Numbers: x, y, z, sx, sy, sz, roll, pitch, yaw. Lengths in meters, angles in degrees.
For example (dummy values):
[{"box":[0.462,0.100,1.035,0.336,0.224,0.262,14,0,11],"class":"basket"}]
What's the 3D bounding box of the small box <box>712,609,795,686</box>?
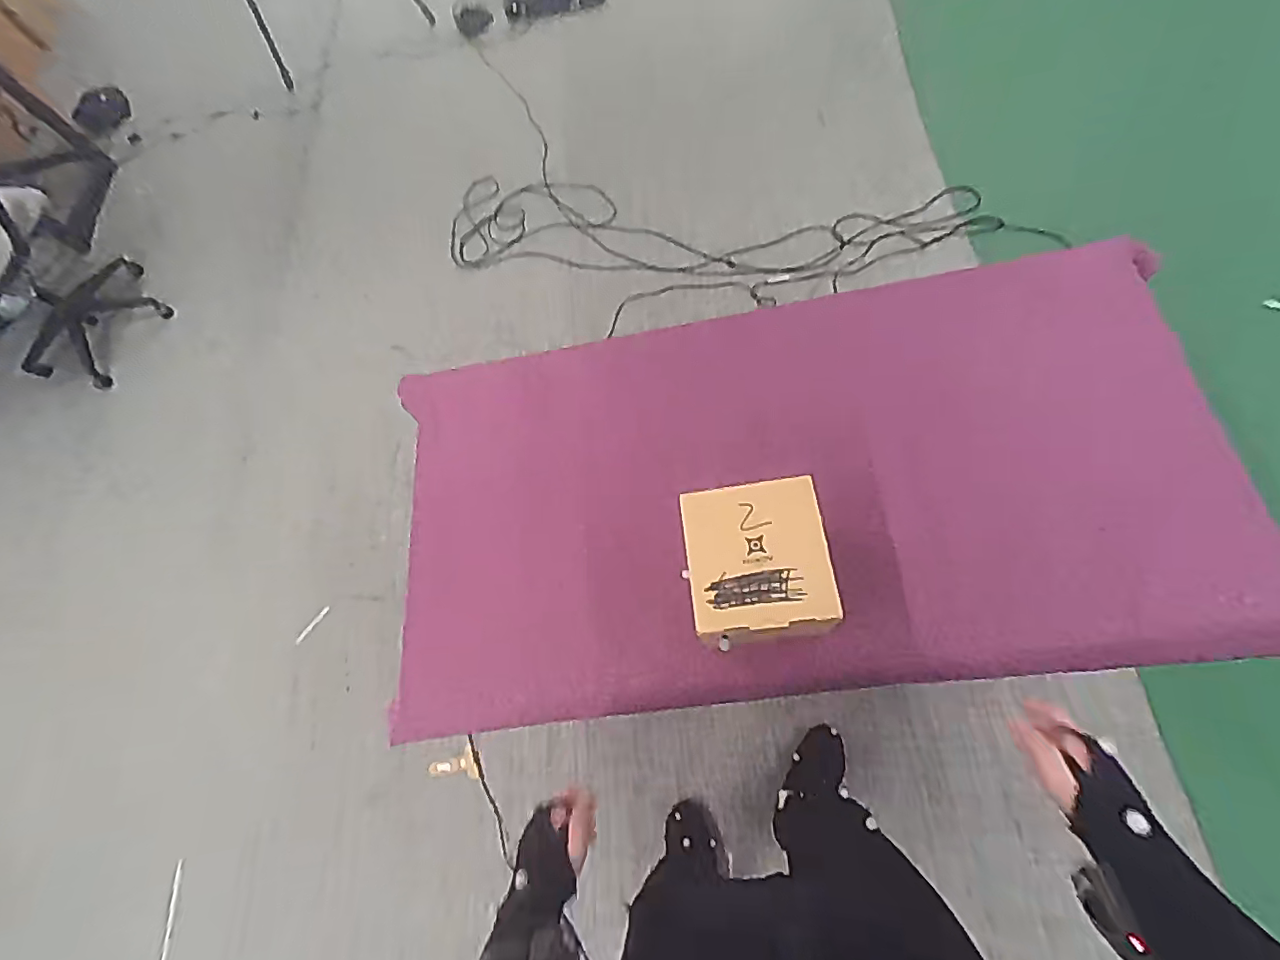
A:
[{"box":[0.280,0.423,1.356,0.179,0.176,0.168,-8,67,9],"class":"small box"}]
